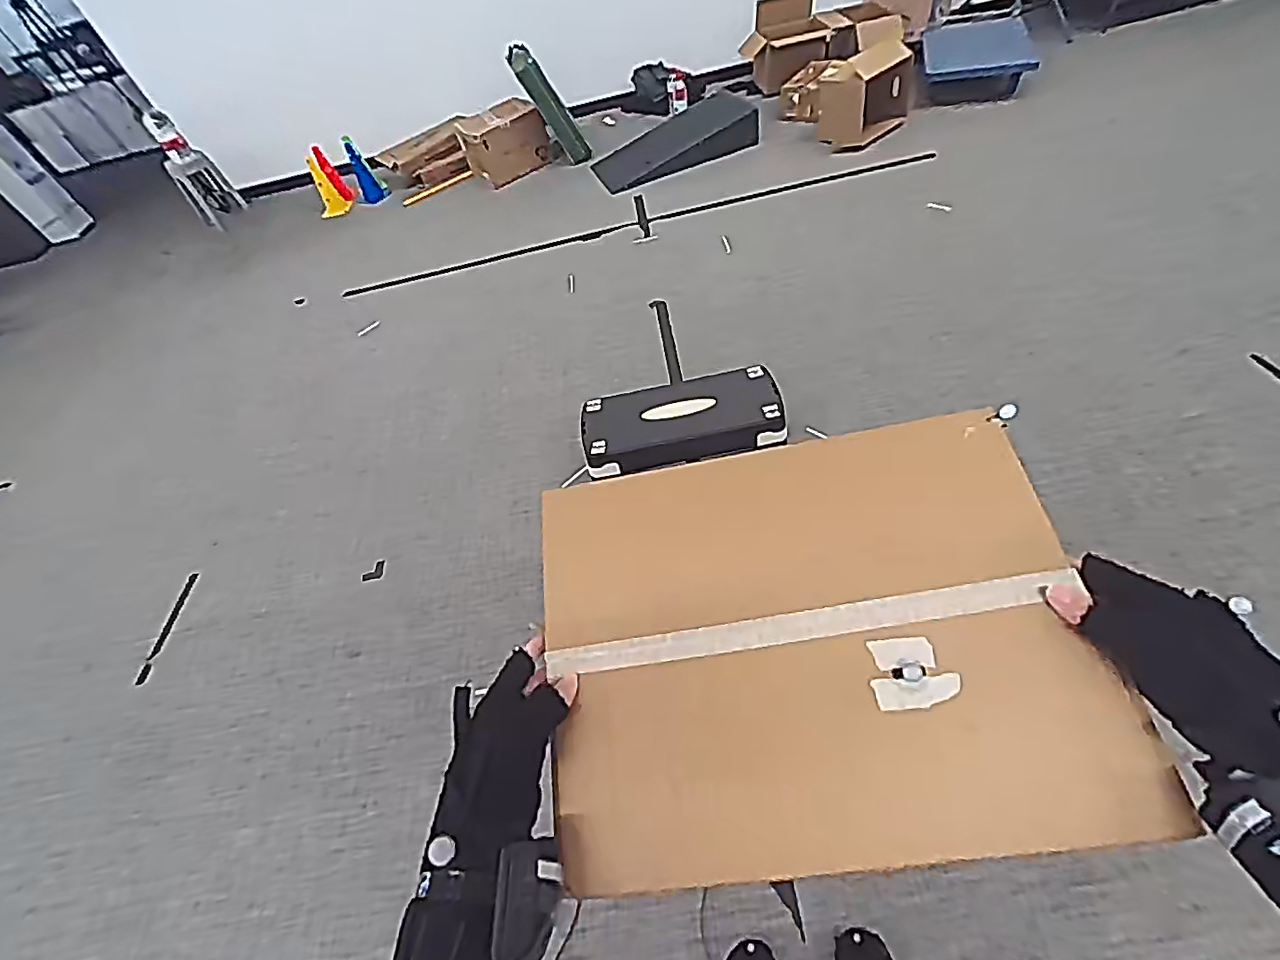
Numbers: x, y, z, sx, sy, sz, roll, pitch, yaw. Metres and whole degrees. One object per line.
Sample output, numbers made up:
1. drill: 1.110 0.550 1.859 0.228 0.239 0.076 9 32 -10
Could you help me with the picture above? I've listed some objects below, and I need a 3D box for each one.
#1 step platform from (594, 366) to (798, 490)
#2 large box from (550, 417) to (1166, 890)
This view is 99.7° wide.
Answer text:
1. step platform: 0.185 -0.178 1.862 0.684 0.204 0.286 -12 51 3
2. large box: 0.151 0.182 0.562 0.408 0.320 0.320 -11 63 6
